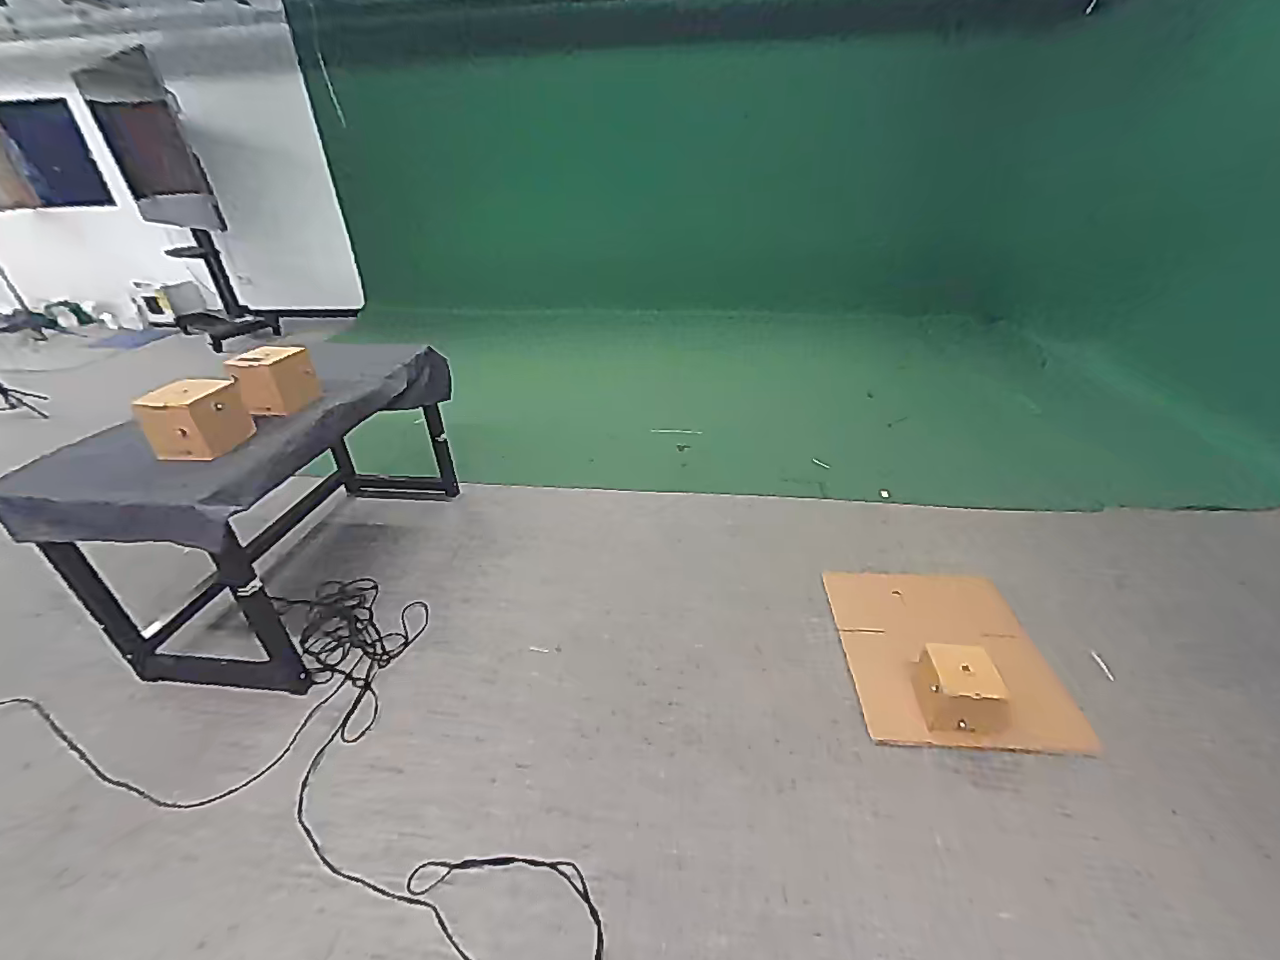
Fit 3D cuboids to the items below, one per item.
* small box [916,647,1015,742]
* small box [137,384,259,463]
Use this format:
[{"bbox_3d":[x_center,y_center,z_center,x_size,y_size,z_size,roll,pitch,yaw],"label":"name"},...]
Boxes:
[{"bbox_3d":[0.891,0.594,1.503,0.168,0.176,0.179,2,32,6],"label":"small box"},{"bbox_3d":[-1.213,-0.157,1.503,0.168,0.176,0.179,3,30,6],"label":"small box"}]
